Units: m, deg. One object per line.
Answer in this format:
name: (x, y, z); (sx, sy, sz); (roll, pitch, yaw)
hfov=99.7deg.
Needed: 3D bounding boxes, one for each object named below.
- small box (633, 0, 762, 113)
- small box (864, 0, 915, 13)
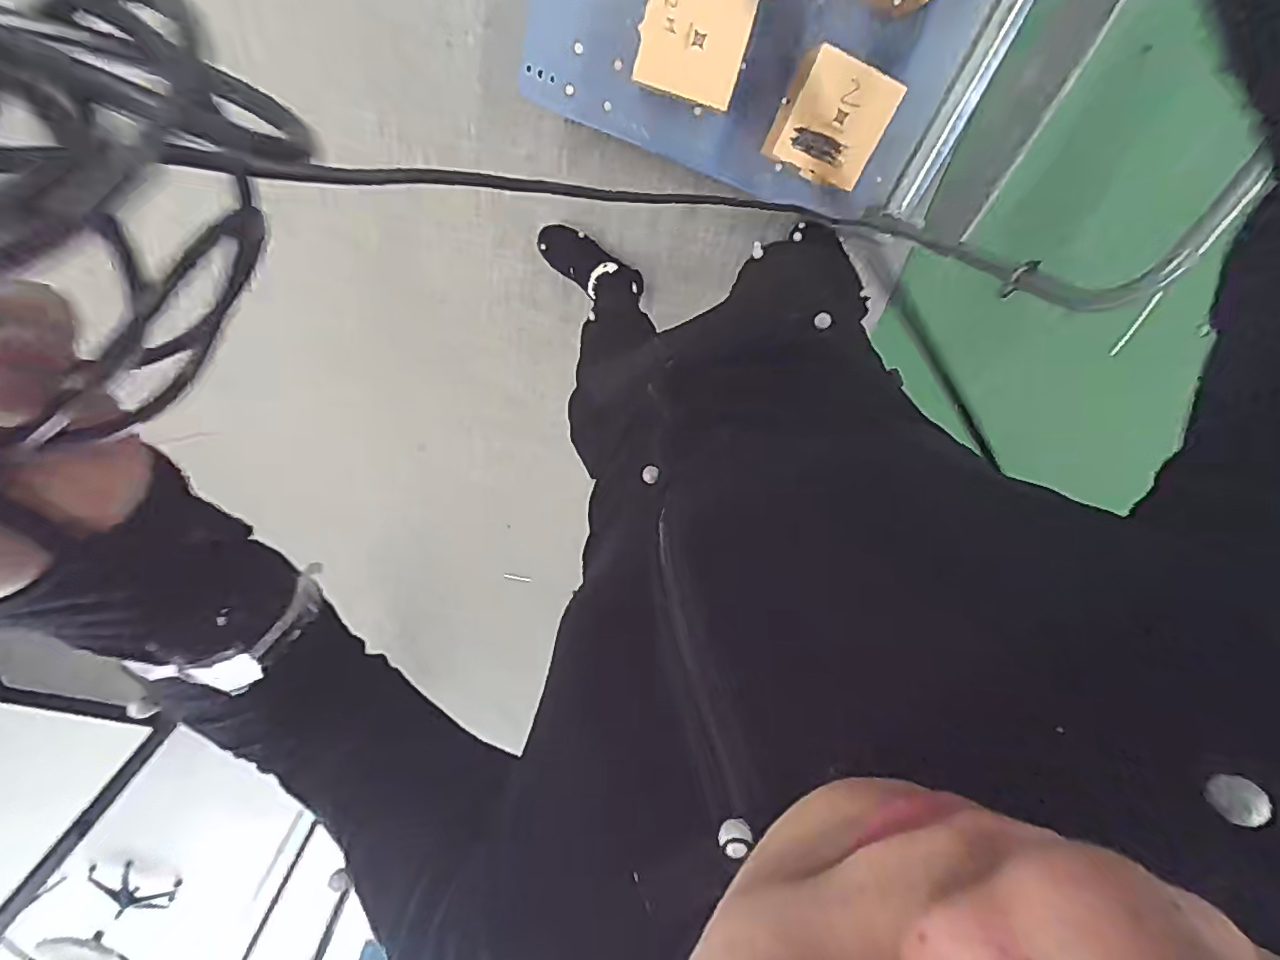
small box: (0.095, -0.773, 0.956); (0.179, 0.176, 0.168); (15, 123, -6)
small box: (0.411, -0.889, 0.862); (0.179, 0.176, 0.168); (20, 122, -9)
